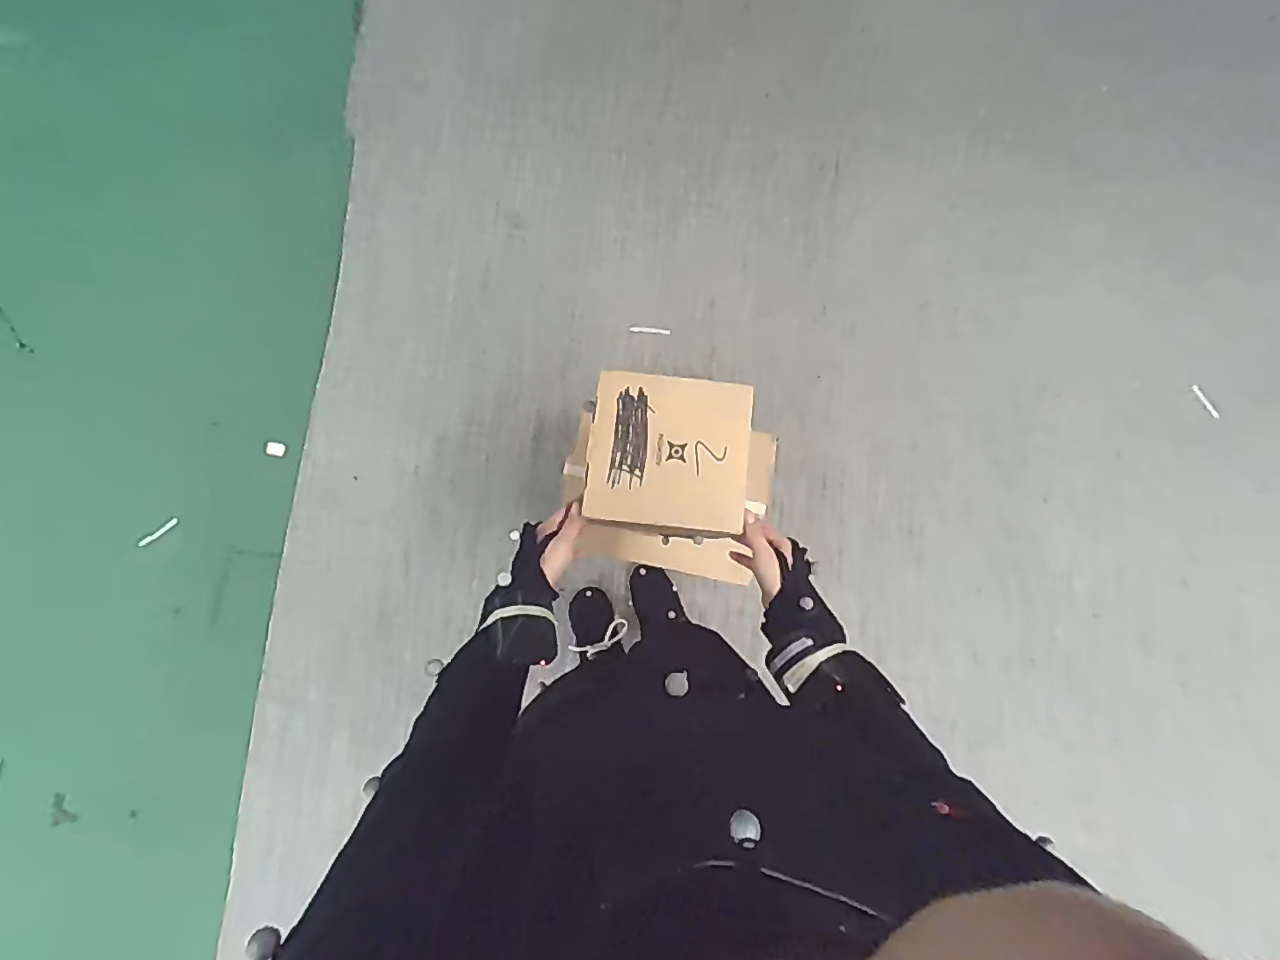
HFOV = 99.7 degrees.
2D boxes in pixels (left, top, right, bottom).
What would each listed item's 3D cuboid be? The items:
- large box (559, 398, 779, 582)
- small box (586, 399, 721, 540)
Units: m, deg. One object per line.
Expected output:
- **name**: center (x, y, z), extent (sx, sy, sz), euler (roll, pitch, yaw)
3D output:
- **large box**: center (0.058, 0.031, 1.229), extent (0.408, 0.320, 0.320), euler (12, 86, 2)
- **small box**: center (0.020, -0.007, 0.828), extent (0.168, 0.176, 0.179), euler (9, 83, 1)
